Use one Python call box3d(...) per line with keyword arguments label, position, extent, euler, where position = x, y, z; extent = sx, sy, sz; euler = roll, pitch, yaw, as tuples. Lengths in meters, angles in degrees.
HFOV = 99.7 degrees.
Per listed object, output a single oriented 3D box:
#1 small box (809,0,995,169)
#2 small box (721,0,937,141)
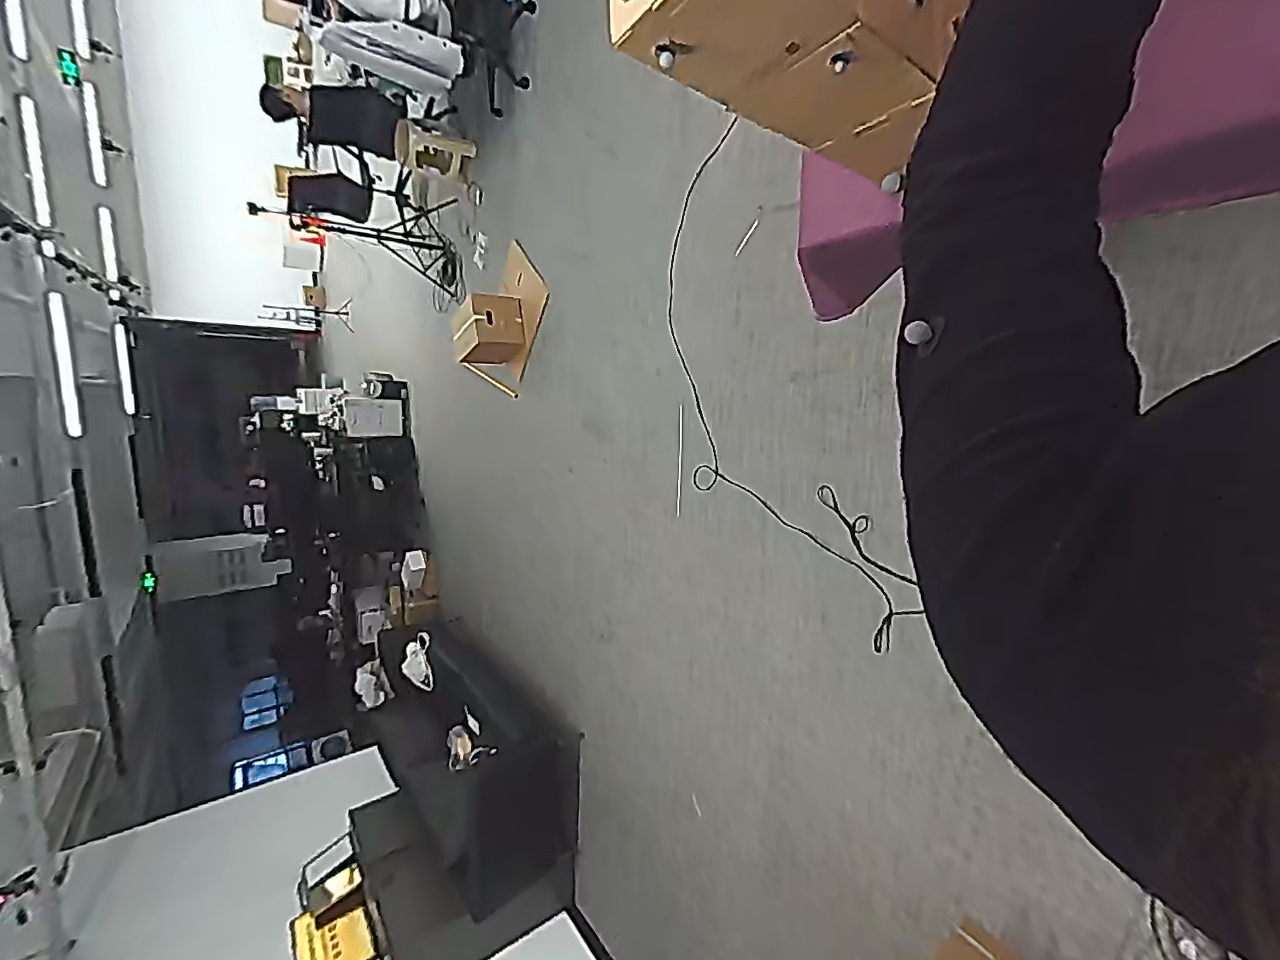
box3d(label="small box", position=(0.342, -0.535, 0.710), extent=(0.168, 0.176, 0.179), euler=(7, 100, 51))
box3d(label="small box", position=(0.212, -0.524, 0.614), extent=(0.179, 0.176, 0.168), euler=(4, 98, 51))
